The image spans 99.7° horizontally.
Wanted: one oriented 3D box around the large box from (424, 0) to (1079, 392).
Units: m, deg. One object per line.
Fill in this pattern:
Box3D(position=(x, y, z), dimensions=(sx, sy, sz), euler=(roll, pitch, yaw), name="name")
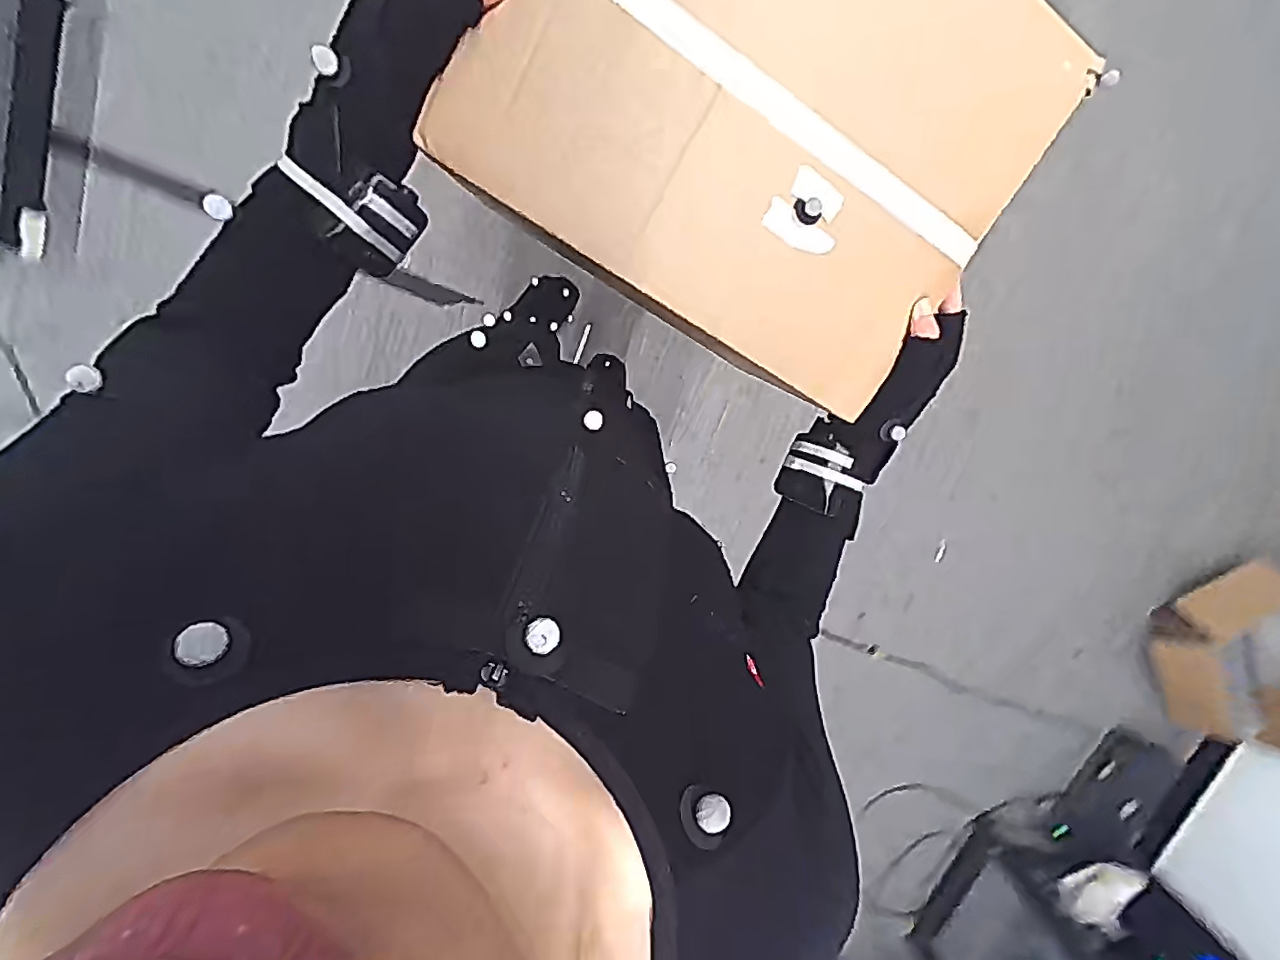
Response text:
Box3D(position=(0.071, -0.334, 0.534), dimensions=(0.408, 0.320, 0.320), euler=(27, 105, -14), name="large box")
